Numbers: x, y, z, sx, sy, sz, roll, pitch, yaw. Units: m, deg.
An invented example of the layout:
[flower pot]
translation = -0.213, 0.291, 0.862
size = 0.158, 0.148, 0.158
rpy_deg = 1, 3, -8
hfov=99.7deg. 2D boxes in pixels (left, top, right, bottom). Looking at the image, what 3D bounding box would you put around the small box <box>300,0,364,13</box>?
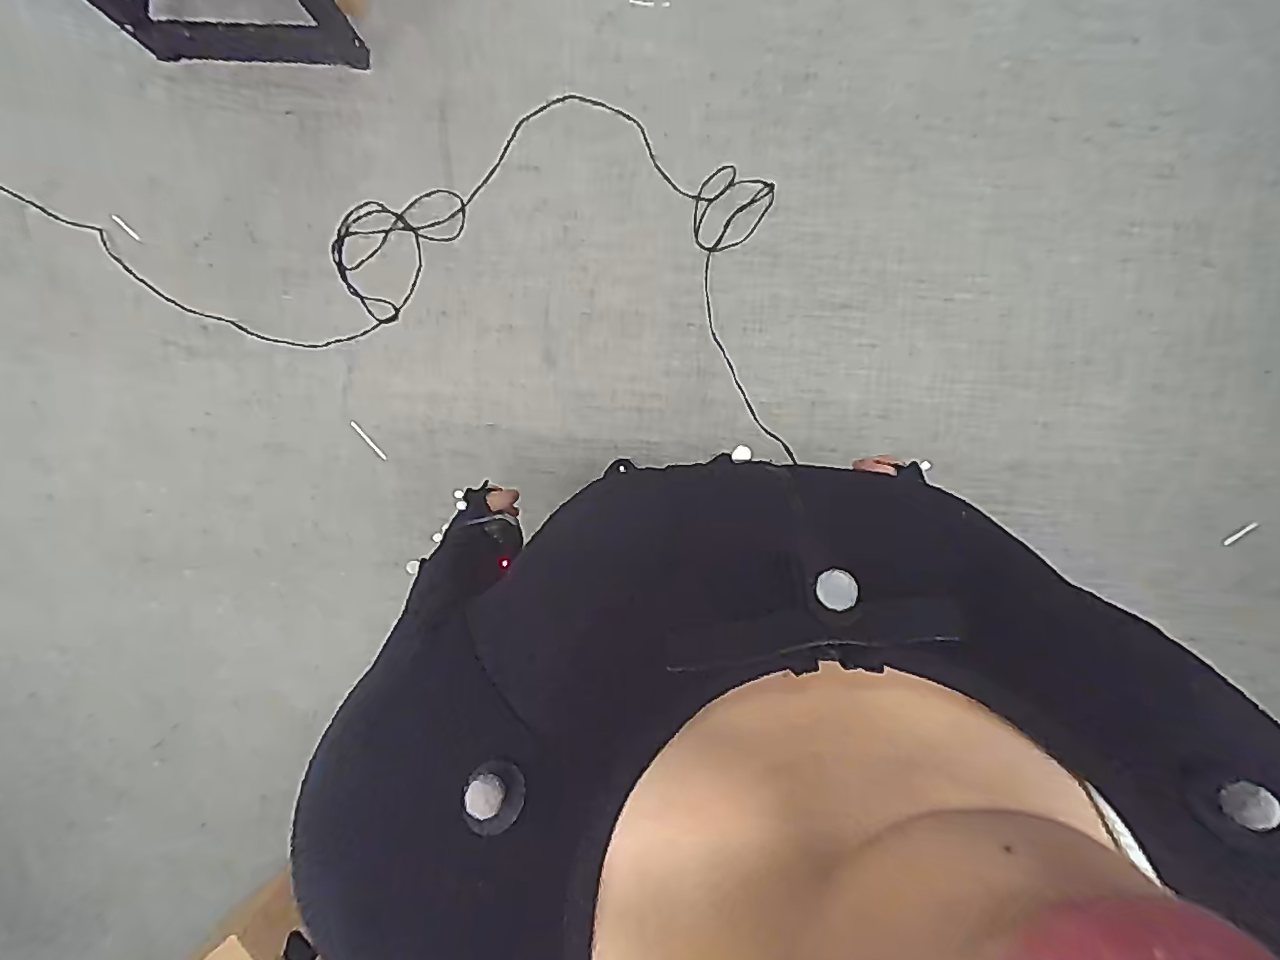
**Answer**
[small box]
translation = -0.810, -1.332, 1.362
size = 0.179, 0.176, 0.168
rpy_deg = 8, 93, 1
